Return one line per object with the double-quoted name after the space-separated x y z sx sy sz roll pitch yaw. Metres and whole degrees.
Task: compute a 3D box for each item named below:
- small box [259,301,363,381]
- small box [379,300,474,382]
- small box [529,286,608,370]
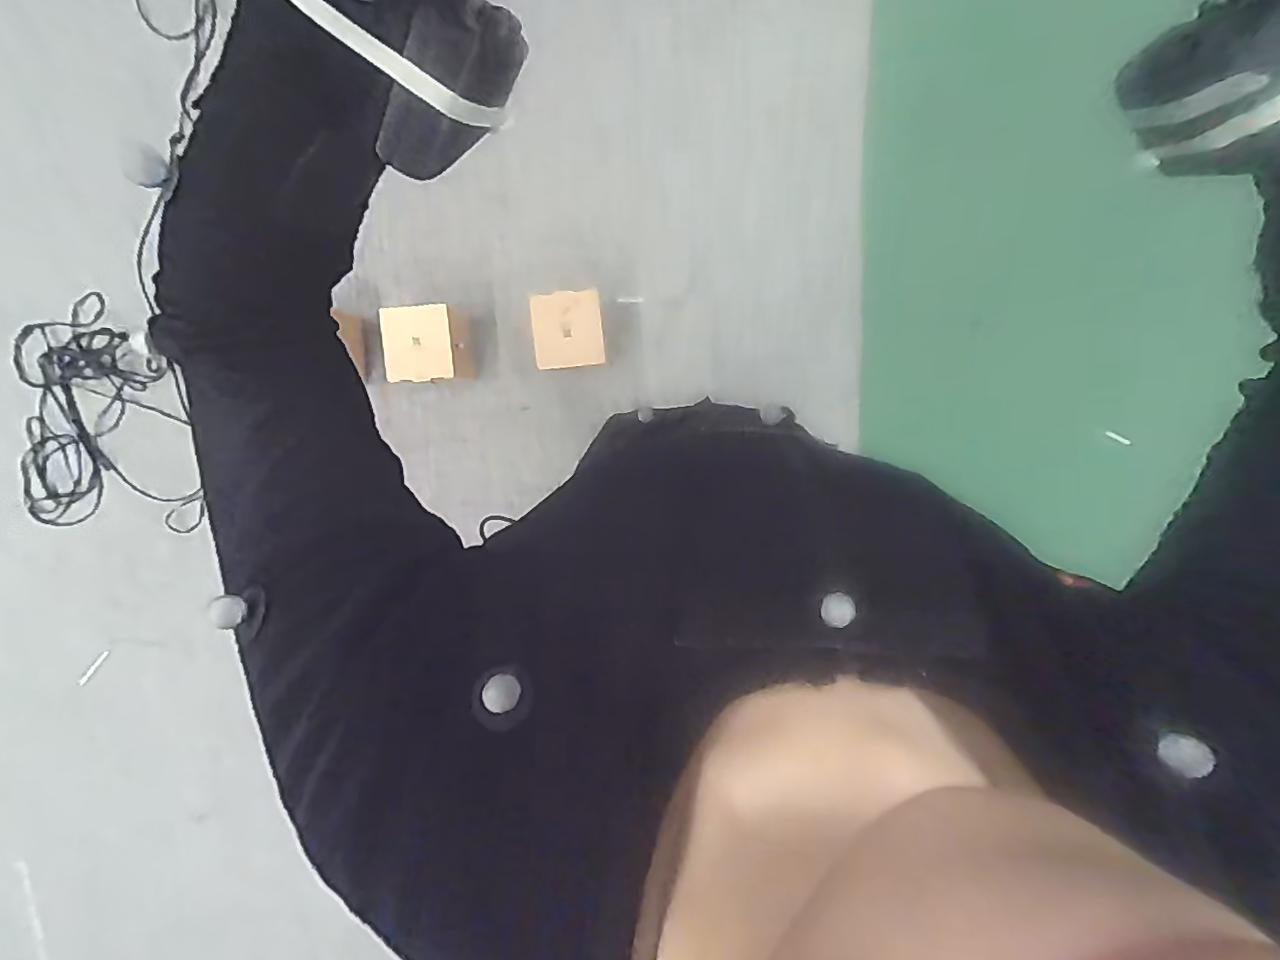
-0.822 -0.345 1.367 0.168 0.176 0.179 1 96 0 "small box"
-0.531 -0.345 1.365 0.168 0.176 0.179 -4 98 1 "small box"
-0.173 -0.373 1.356 0.168 0.176 0.179 -6 97 1 "small box"
